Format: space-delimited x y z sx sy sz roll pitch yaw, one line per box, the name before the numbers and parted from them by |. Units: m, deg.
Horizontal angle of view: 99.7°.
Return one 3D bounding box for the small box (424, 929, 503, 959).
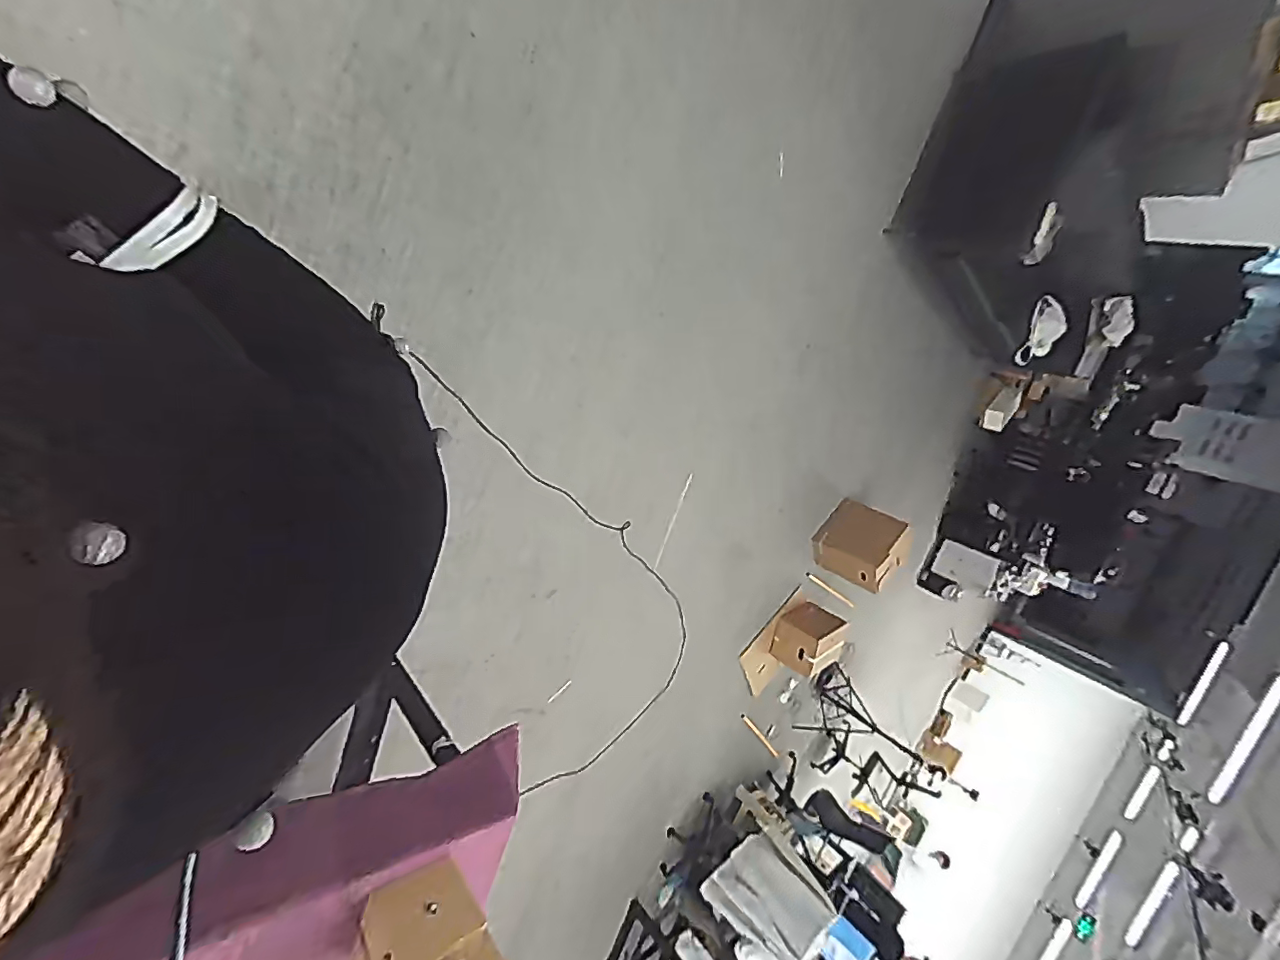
small box | -0.332 0.991 0.987 0.168 0.176 0.179 8 104 -47
